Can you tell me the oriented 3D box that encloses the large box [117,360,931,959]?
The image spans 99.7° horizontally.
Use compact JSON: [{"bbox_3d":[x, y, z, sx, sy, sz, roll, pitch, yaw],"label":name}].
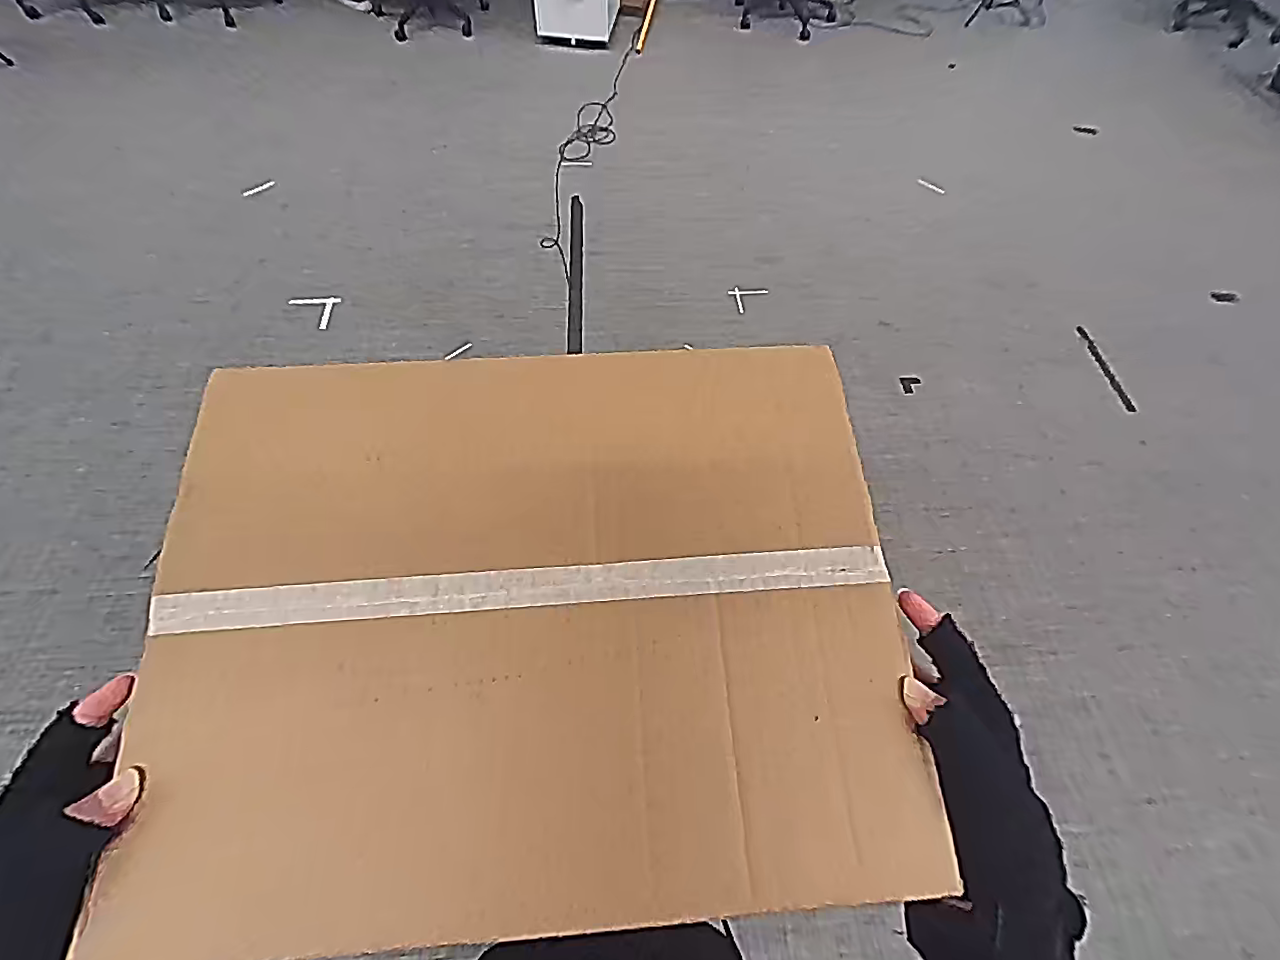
[{"bbox_3d":[-0.065,0.125,0.455,0.408,0.320,0.320,-3,69,-3],"label":"large box"}]
